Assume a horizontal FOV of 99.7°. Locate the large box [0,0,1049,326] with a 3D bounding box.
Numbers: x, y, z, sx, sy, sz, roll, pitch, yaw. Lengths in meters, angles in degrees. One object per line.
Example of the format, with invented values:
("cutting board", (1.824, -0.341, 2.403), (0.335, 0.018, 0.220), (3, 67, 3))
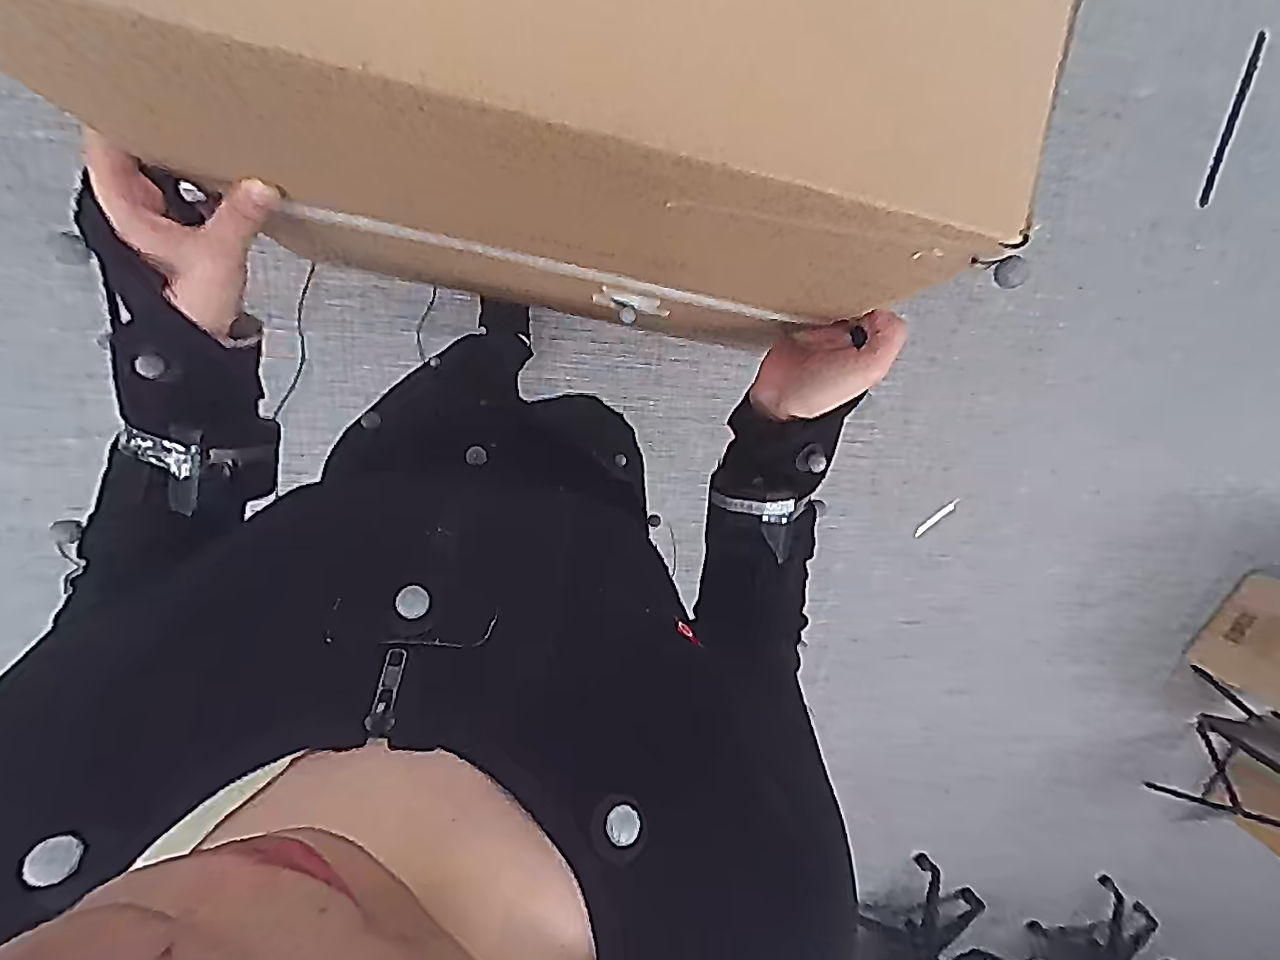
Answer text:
("large box", (-0.052, -0.300, 0.307), (0.408, 0.320, 0.320), (8, 97, -8))
